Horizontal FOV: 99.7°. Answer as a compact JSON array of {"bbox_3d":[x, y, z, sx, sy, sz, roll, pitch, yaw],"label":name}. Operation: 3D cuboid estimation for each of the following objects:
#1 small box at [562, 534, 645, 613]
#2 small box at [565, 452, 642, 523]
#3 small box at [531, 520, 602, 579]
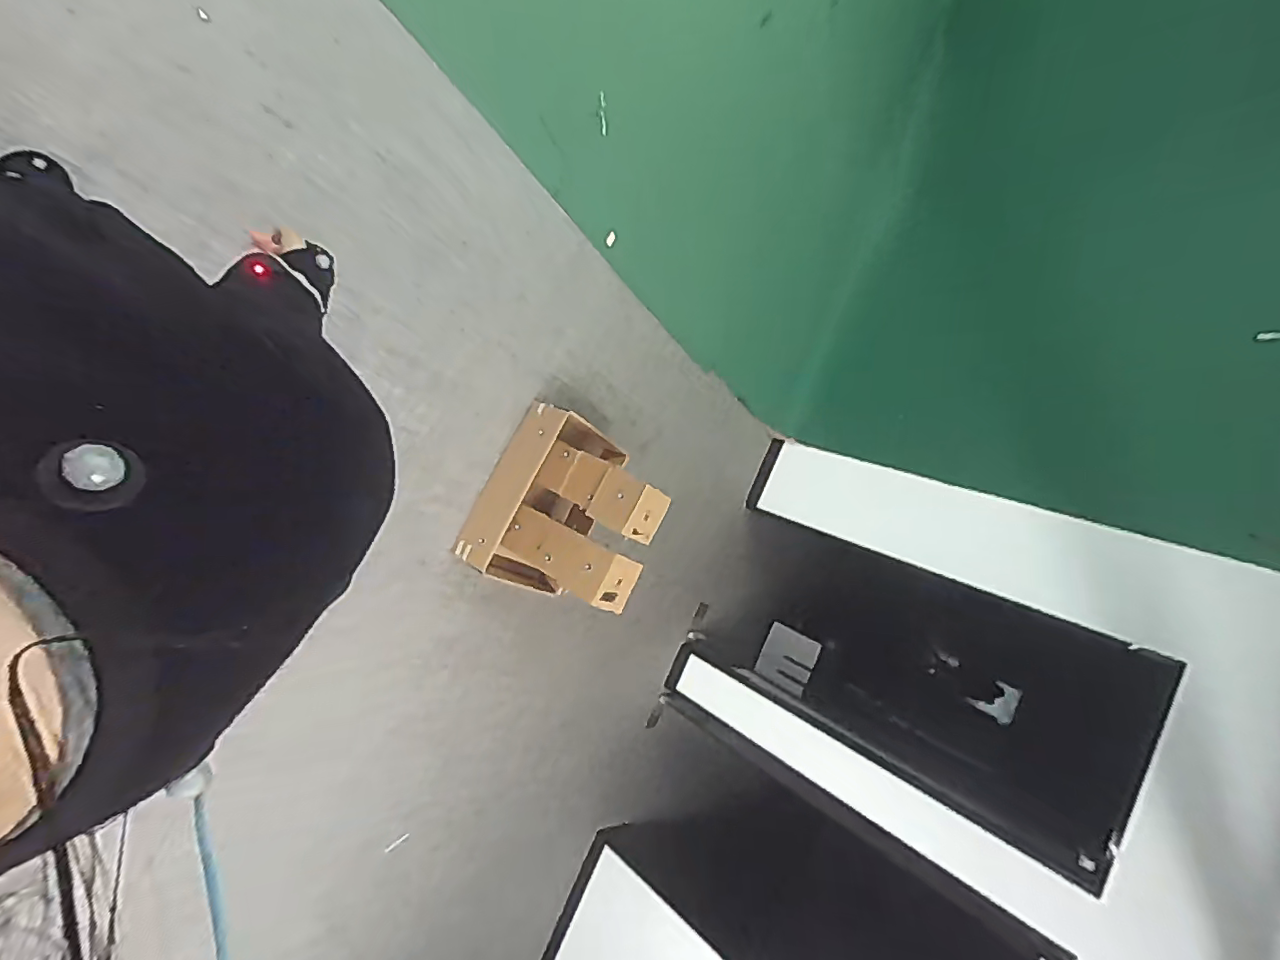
[{"bbox_3d":[-0.122,0.297,1.729,0.168,0.176,0.179,36,77,-51],"label":"small box"},{"bbox_3d":[-0.130,0.021,1.861,0.168,0.176,0.179,31,84,-51],"label":"small box"},{"bbox_3d":[-0.238,0.249,1.835,0.179,0.176,0.168,35,78,-51],"label":"small box"}]
